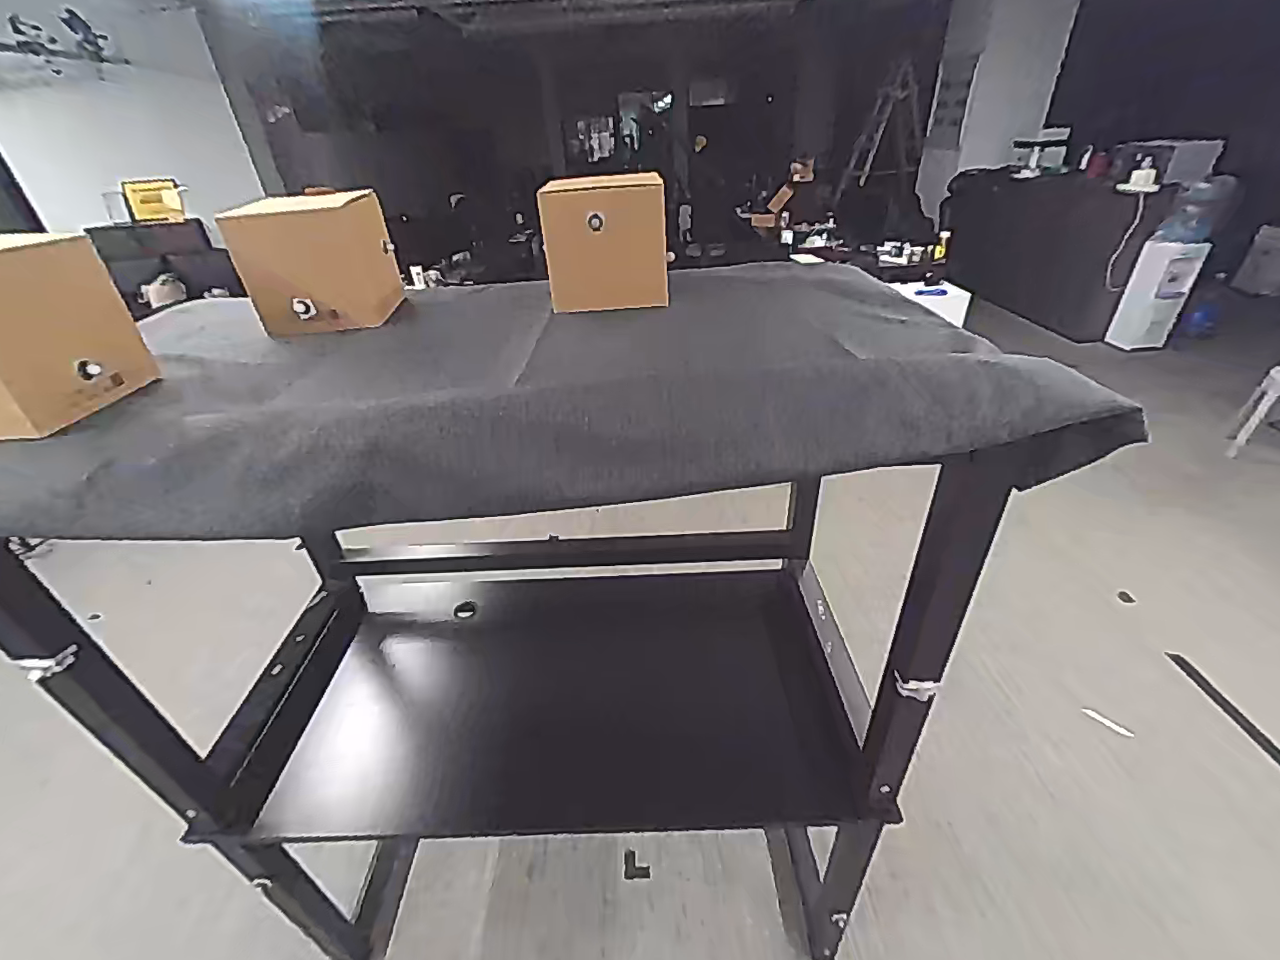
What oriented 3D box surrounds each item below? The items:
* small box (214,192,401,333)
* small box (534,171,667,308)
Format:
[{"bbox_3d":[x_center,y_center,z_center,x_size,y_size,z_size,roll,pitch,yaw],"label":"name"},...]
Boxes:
[{"bbox_3d":[-0.484,-0.334,0.825,0.168,0.176,0.179,-8,33,-4],"label":"small box"},{"bbox_3d":[-0.052,-0.372,0.836,0.179,0.176,0.168,-3,33,1],"label":"small box"}]
